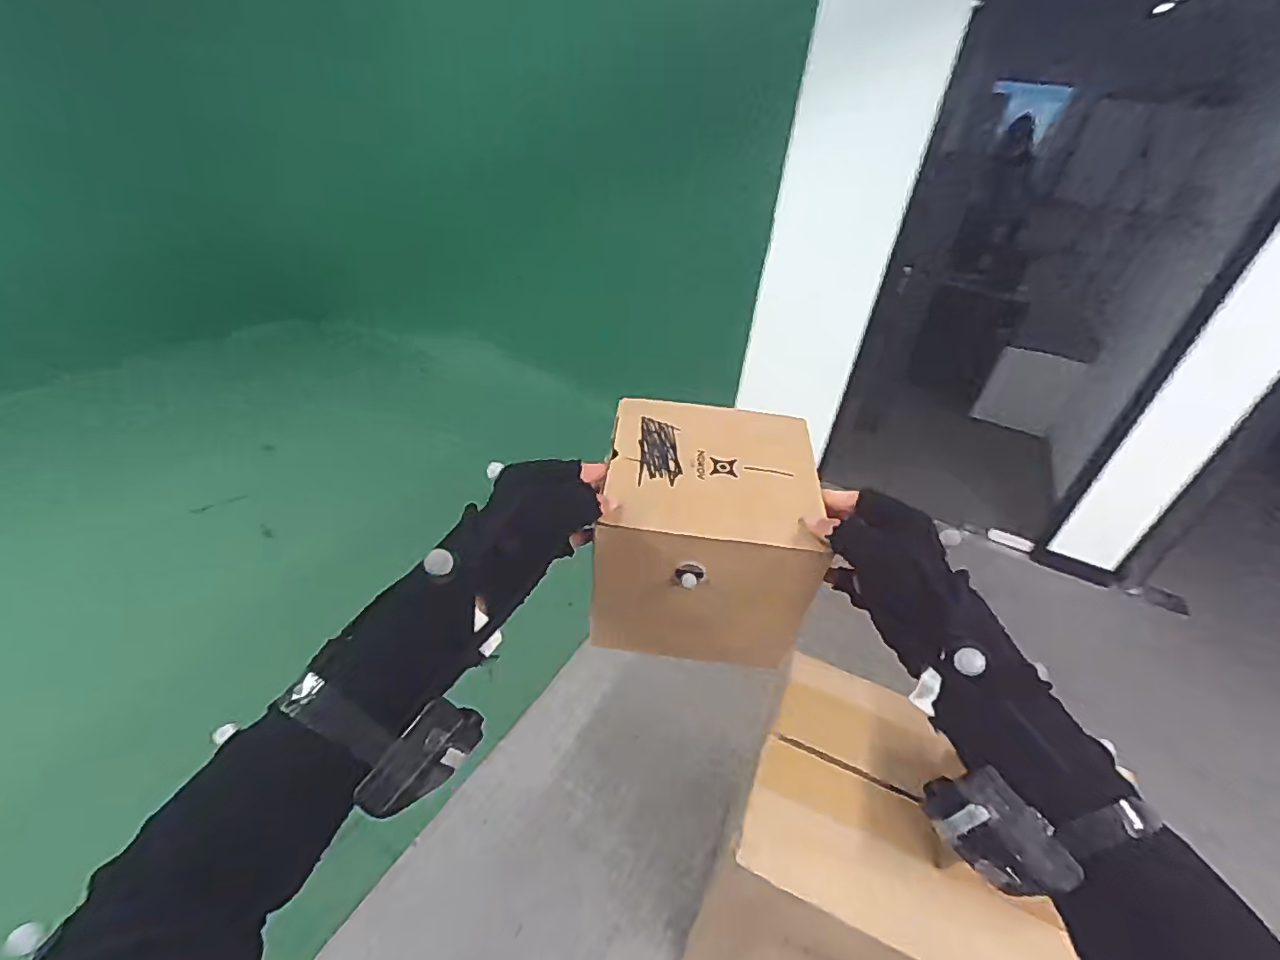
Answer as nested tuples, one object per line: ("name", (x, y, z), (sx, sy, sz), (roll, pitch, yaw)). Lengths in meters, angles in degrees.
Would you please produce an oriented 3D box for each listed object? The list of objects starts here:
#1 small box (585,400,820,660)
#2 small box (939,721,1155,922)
("small box", (0.047, 0.048, 0.503), (0.179, 0.176, 0.168), (7, 42, 0))
("small box", (0.535, 0.472, 0.745), (0.179, 0.176, 0.168), (18, 47, 14))
